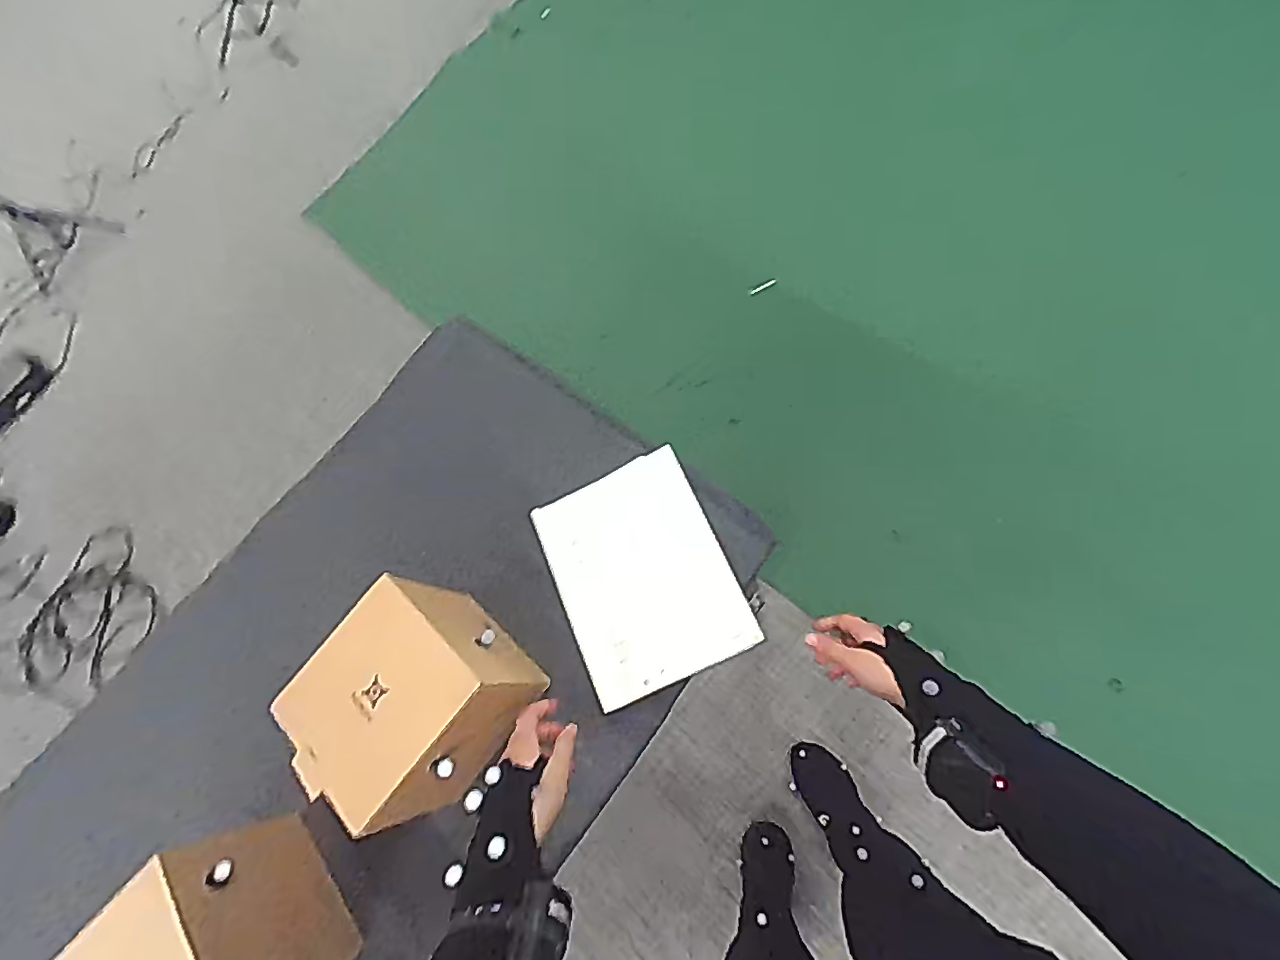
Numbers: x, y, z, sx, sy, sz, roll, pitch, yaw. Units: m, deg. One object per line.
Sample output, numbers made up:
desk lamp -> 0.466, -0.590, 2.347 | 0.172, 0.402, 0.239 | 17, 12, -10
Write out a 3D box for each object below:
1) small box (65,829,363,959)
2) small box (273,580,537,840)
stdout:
small box -> -0.434, 0.498, 0.555 | 0.179, 0.176, 0.168 | 40, 86, 23
small box -> -0.237, 0.236, 0.594 | 0.168, 0.176, 0.179 | 36, 84, 23
